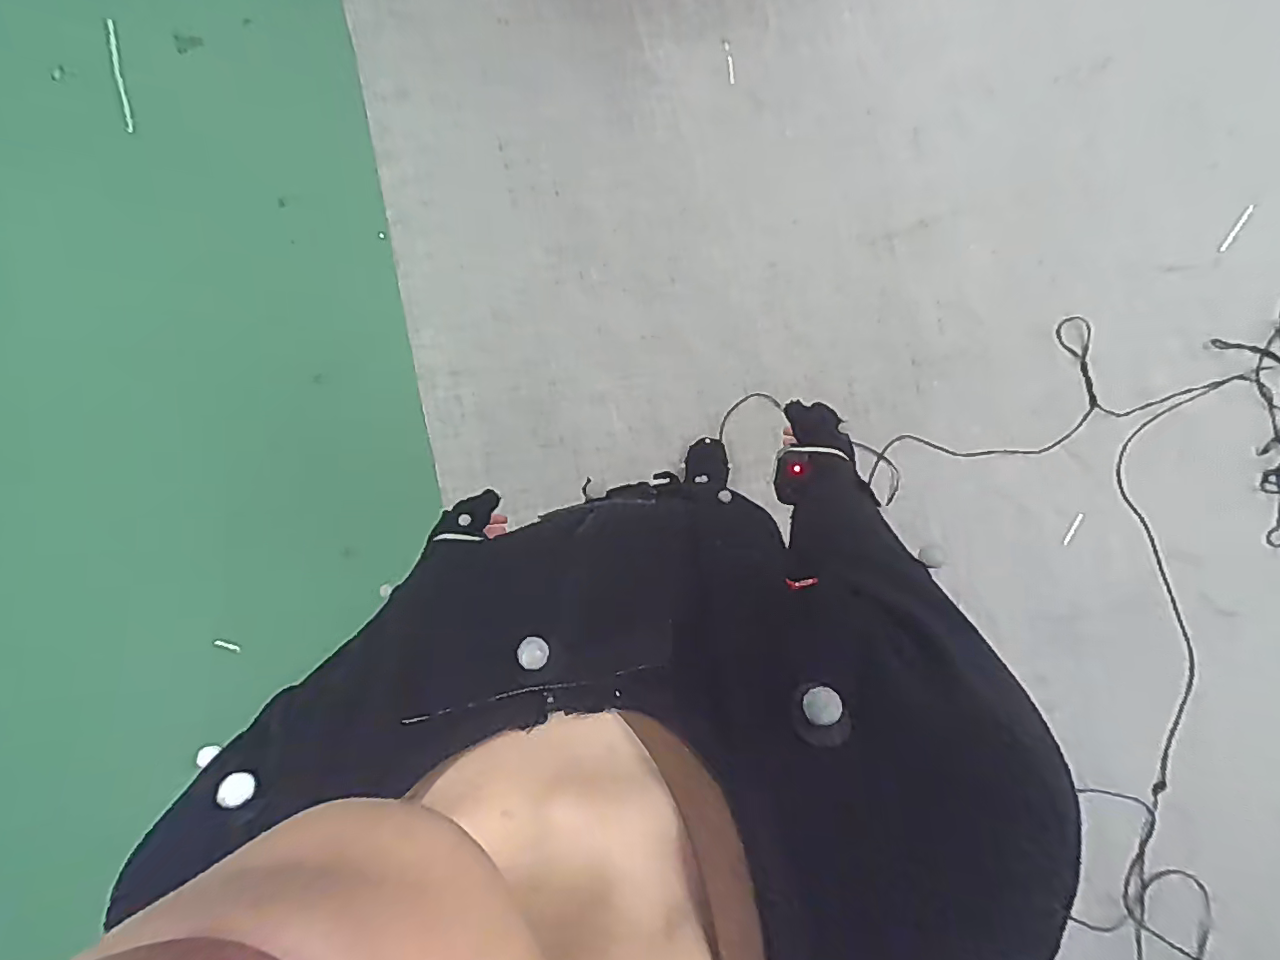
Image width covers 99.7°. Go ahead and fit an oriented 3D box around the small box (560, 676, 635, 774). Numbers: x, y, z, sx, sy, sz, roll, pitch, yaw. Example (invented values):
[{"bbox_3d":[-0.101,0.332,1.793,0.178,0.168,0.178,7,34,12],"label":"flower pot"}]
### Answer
[{"bbox_3d":[-0.106,0.628,1.412,0.168,0.176,0.179,-9,91,2],"label":"small box"}]
